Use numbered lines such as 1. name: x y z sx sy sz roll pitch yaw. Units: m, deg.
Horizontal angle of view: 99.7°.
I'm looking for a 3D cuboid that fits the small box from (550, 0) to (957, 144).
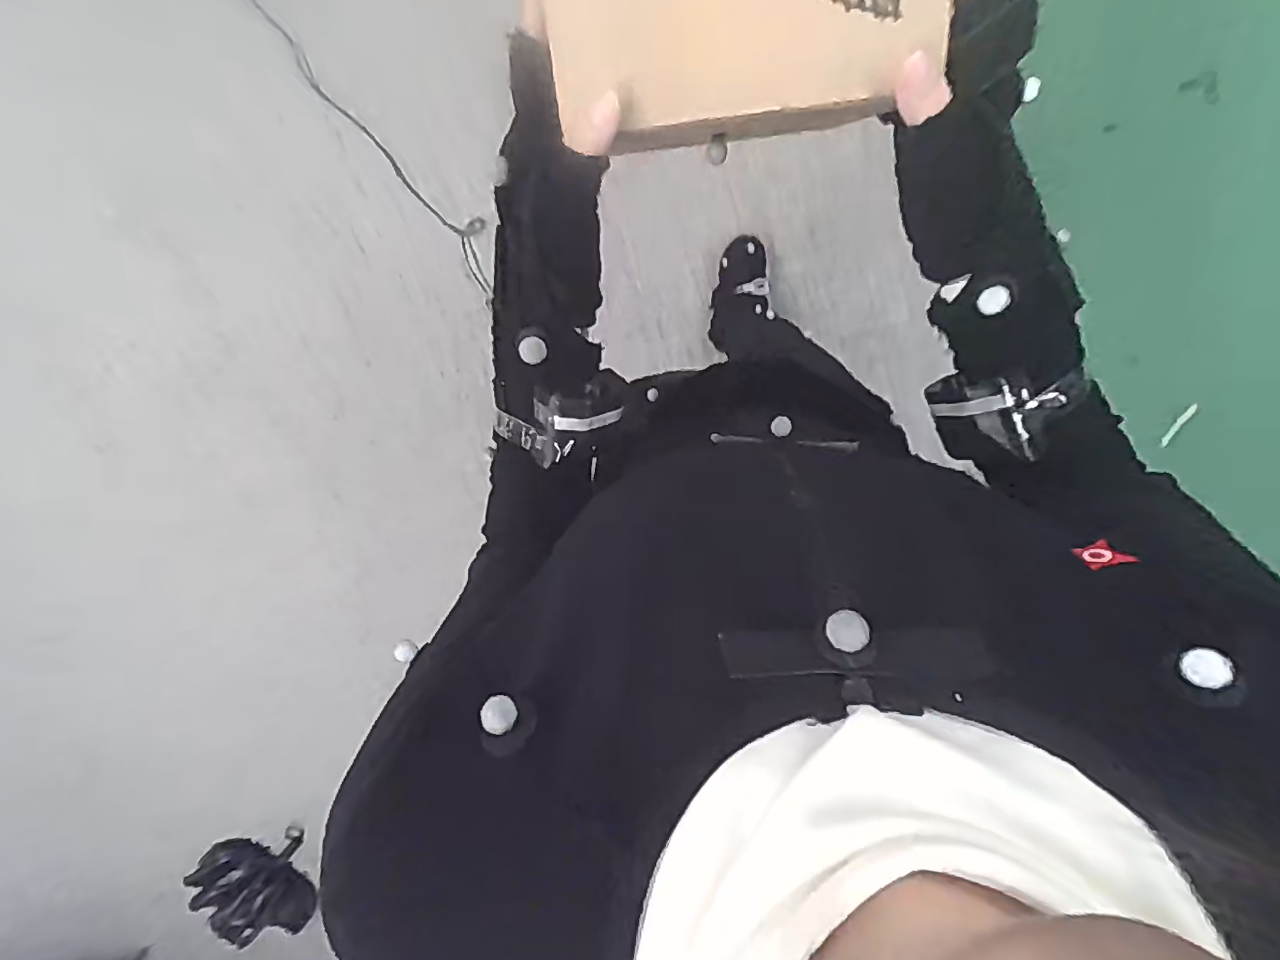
1. small box: 0.045 -0.283 0.280 0.179 0.176 0.168 -4 118 5
